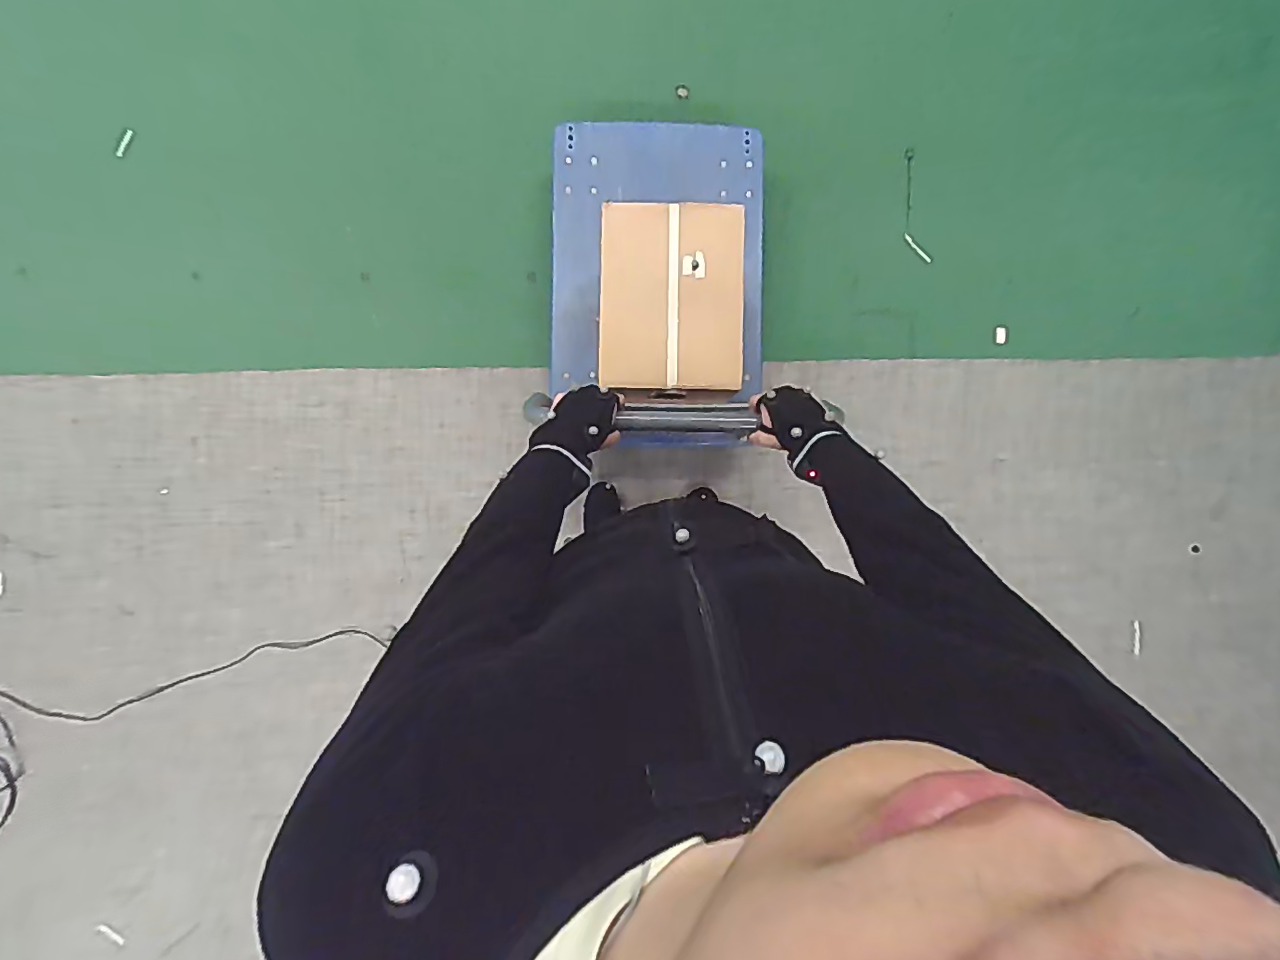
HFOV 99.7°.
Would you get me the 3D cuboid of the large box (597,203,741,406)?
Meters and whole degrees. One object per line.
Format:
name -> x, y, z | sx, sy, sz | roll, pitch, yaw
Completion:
large box -> 0.063, -0.401, 1.323 | 0.320, 0.320, 0.408 | 1, 90, -2
